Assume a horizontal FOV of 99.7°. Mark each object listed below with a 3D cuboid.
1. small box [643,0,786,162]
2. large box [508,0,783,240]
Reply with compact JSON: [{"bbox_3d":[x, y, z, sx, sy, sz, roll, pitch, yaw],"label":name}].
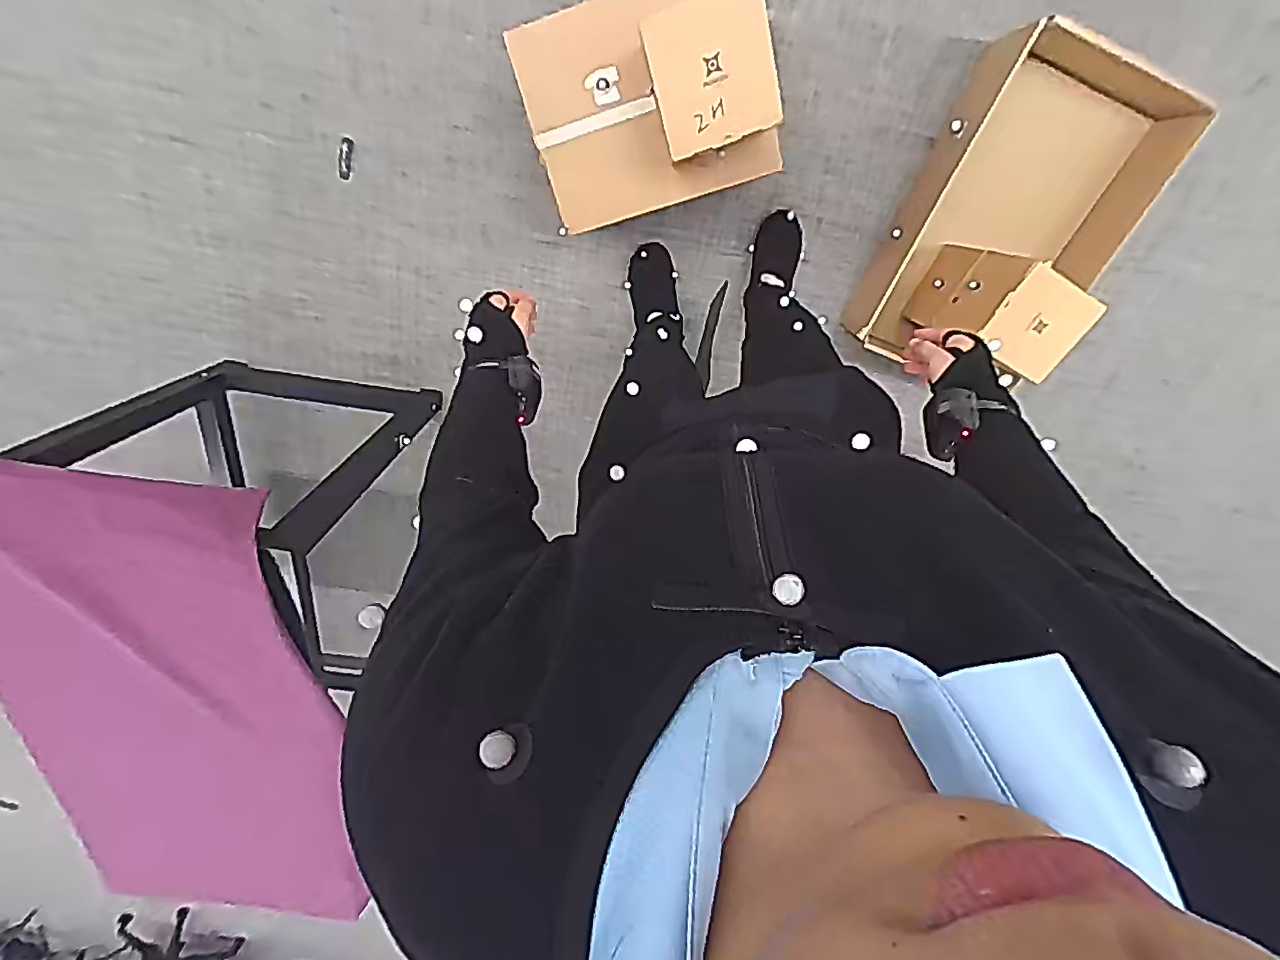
[{"bbox_3d":[0.106,-0.594,0.802,0.168,0.176,0.179,-14,118,10],"label":"small box"},{"bbox_3d":[0.023,-0.693,1.031,0.408,0.320,0.320,-13,117,10],"label":"large box"}]
